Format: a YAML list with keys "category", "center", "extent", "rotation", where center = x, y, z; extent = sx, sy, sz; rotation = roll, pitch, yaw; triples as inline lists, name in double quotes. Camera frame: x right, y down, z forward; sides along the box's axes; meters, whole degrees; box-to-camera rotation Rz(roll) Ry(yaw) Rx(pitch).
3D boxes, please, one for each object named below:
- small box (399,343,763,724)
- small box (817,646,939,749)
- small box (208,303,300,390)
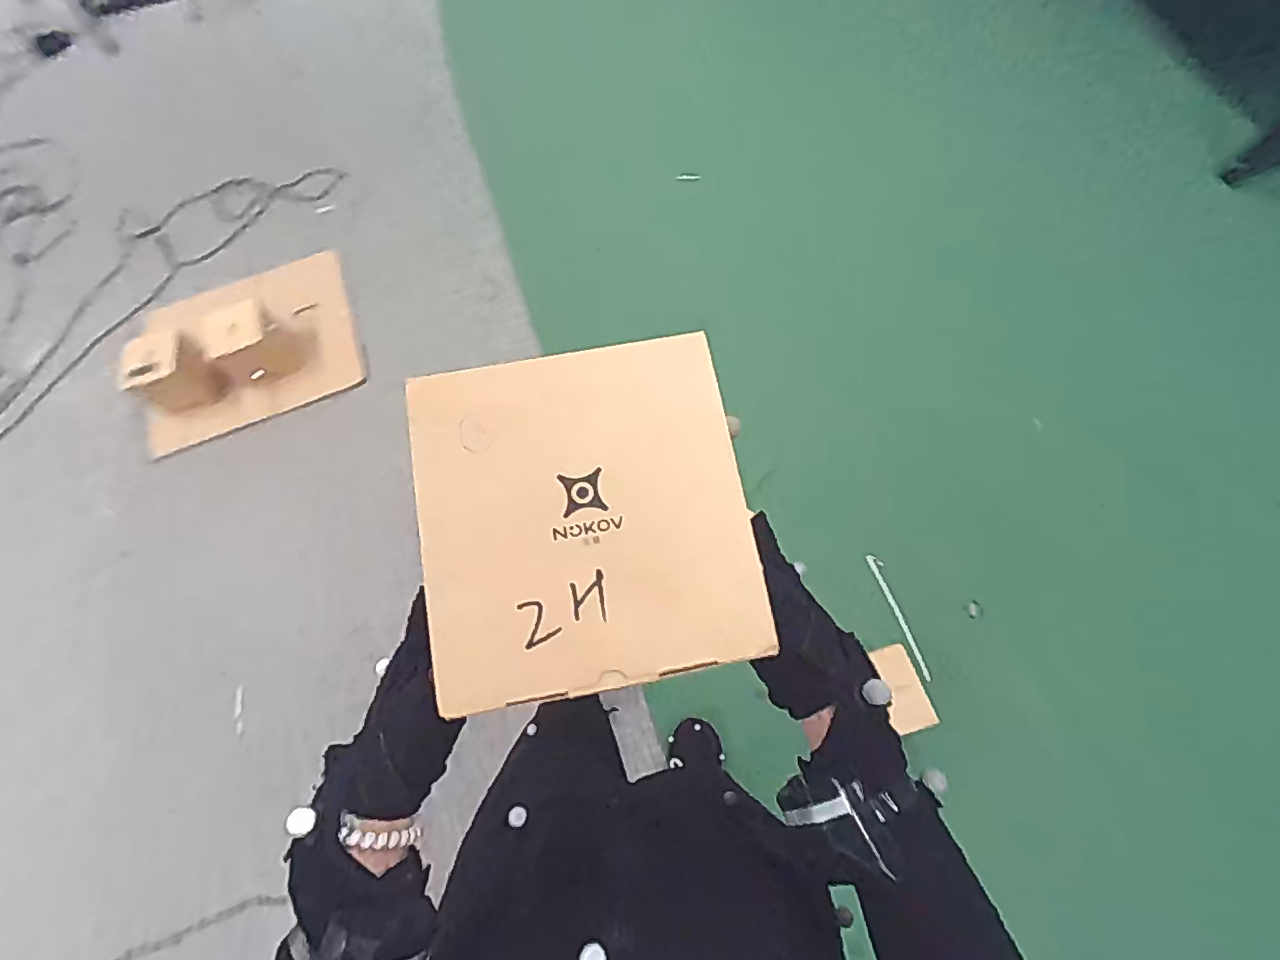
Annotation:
- category: "small box"
  center: [-0.037, 0.038, 0.355]
  extent: [0.168, 0.176, 0.179]
  rotation: [-11, 78, -4]
- category: "small box"
  center: [0.508, 0.479, 1.194]
  extent: [0.179, 0.176, 0.168]
  rotation: [-17, 68, -3]
- category: "small box"
  center: [-1.207, -0.415, 1.699]
  extent: [0.168, 0.176, 0.179]
  rotation: [-22, 69, -5]
